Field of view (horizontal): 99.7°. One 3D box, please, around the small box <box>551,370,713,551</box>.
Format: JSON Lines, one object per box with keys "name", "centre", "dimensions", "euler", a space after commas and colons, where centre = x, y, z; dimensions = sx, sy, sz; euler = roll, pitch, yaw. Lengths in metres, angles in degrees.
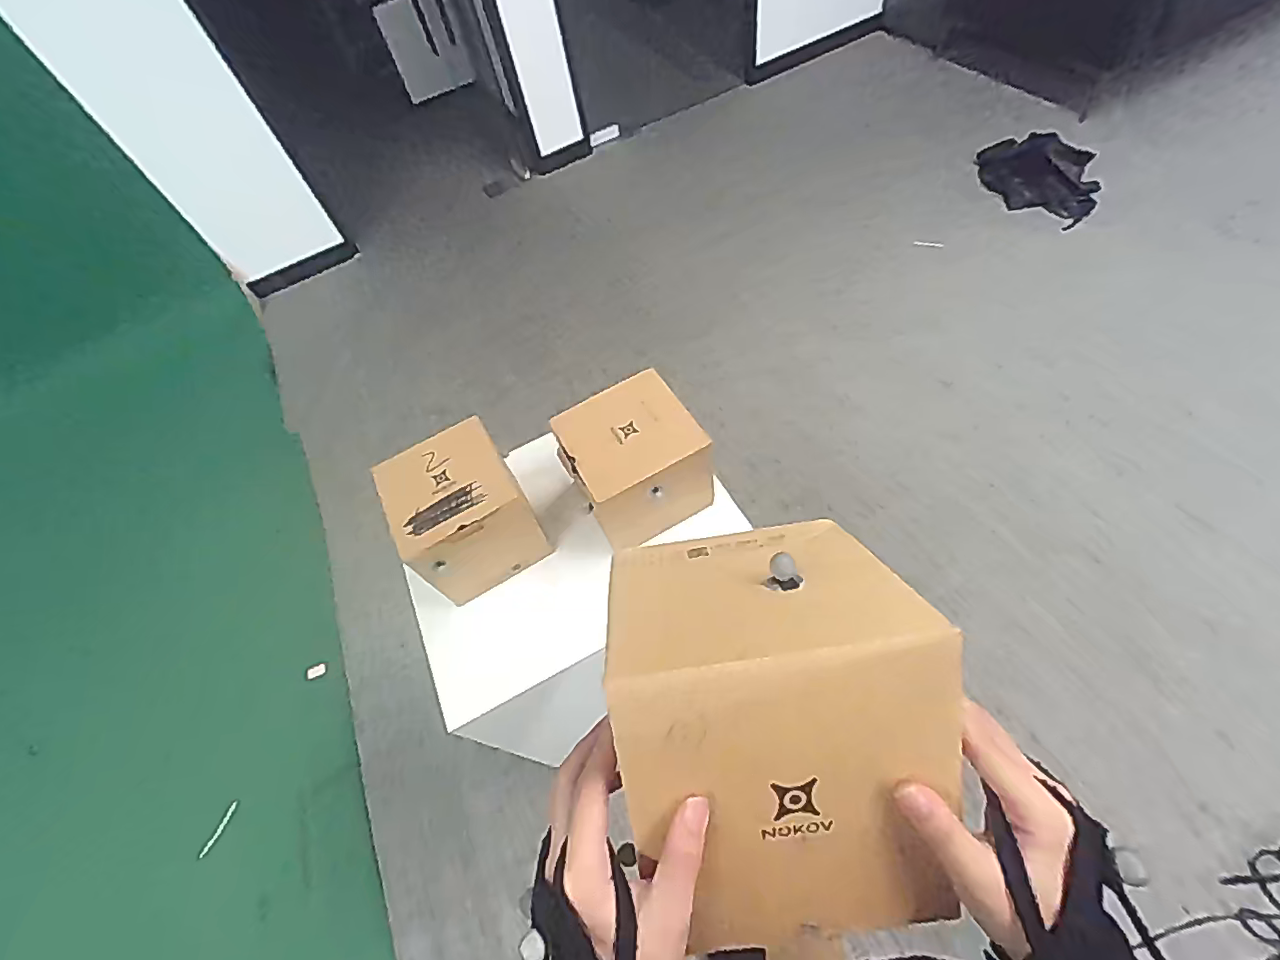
{"name": "small box", "centre": [-0.004, -0.022, 0.802], "dimensions": [0.179, 0.176, 0.168], "euler": [-28, 59, -9]}
